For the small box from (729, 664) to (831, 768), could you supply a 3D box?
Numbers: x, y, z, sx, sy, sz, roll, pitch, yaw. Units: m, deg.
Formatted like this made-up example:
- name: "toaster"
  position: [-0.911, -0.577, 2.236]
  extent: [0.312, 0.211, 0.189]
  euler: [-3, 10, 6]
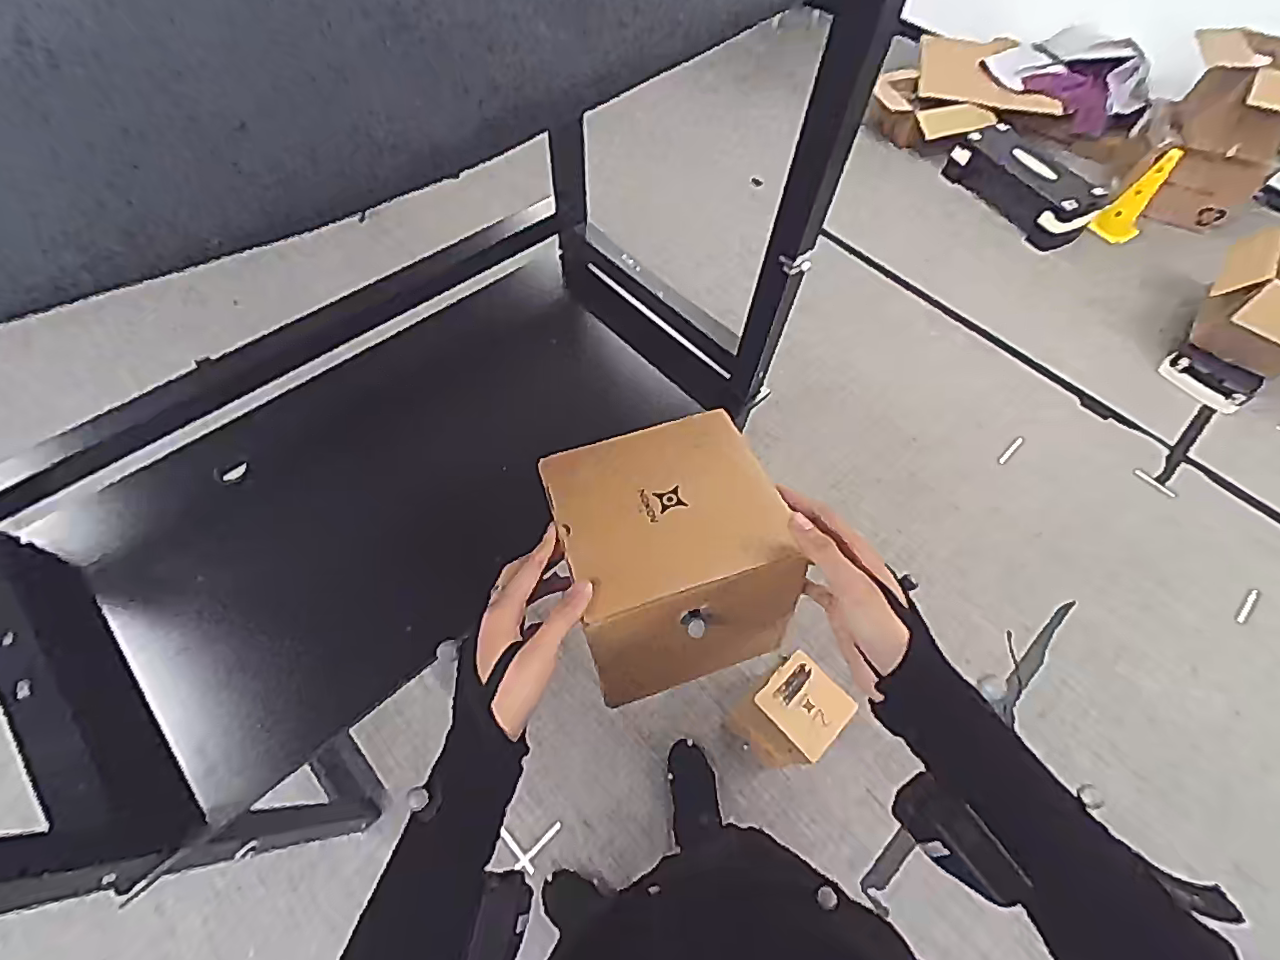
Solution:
- name: "small box"
  position: [0.349, 0.605, 1.385]
  extent: [0.179, 0.176, 0.168]
  euler: [-41, 70, -21]
